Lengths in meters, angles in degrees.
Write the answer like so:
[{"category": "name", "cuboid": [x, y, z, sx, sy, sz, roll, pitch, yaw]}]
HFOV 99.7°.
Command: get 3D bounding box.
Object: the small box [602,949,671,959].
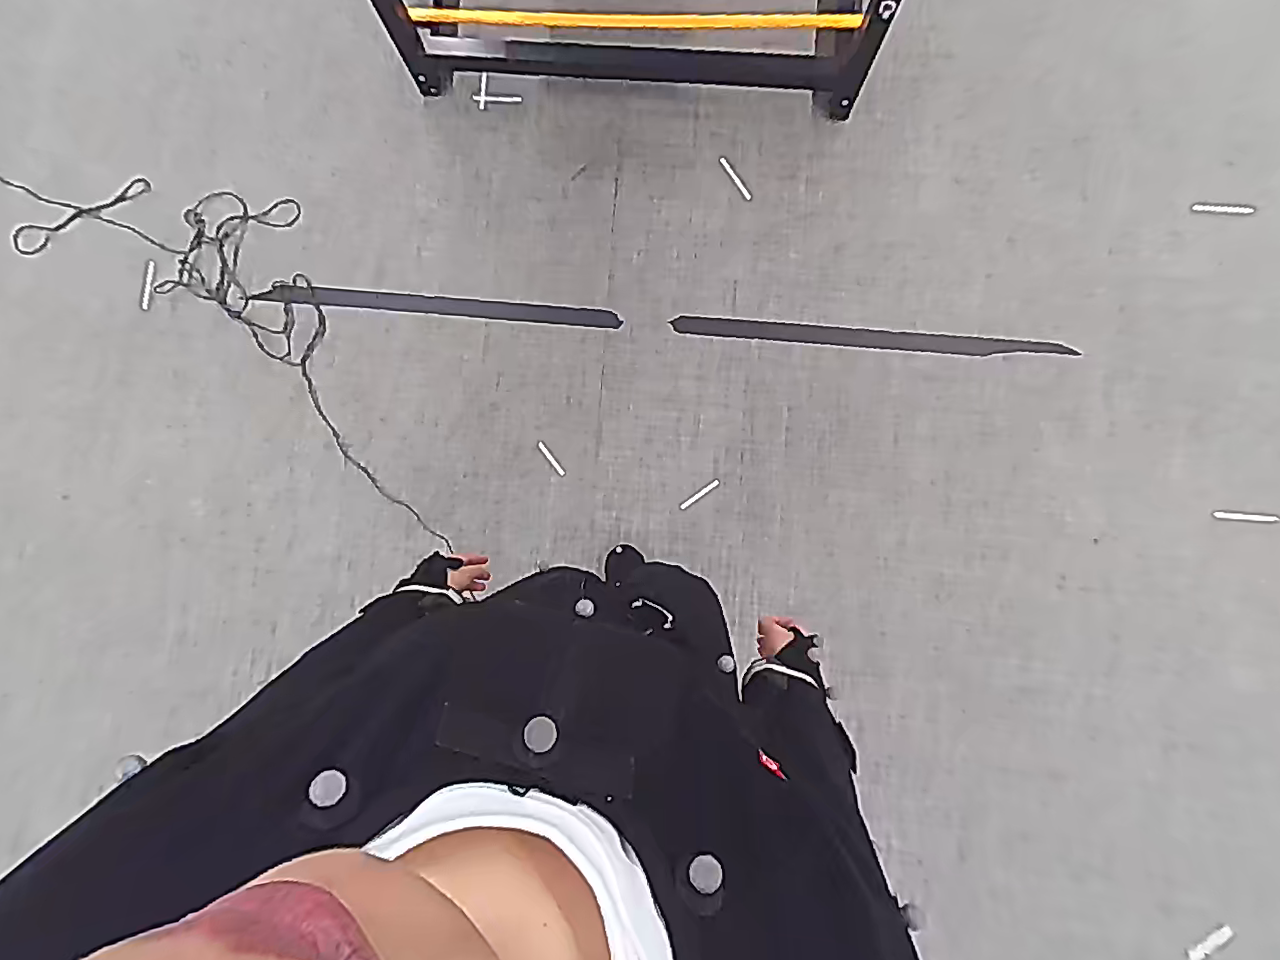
[{"category": "small box", "cuboid": [-0.017, 1.216, 1.225, 0.179, 0.176, 0.168, 5, 85, 1]}]
